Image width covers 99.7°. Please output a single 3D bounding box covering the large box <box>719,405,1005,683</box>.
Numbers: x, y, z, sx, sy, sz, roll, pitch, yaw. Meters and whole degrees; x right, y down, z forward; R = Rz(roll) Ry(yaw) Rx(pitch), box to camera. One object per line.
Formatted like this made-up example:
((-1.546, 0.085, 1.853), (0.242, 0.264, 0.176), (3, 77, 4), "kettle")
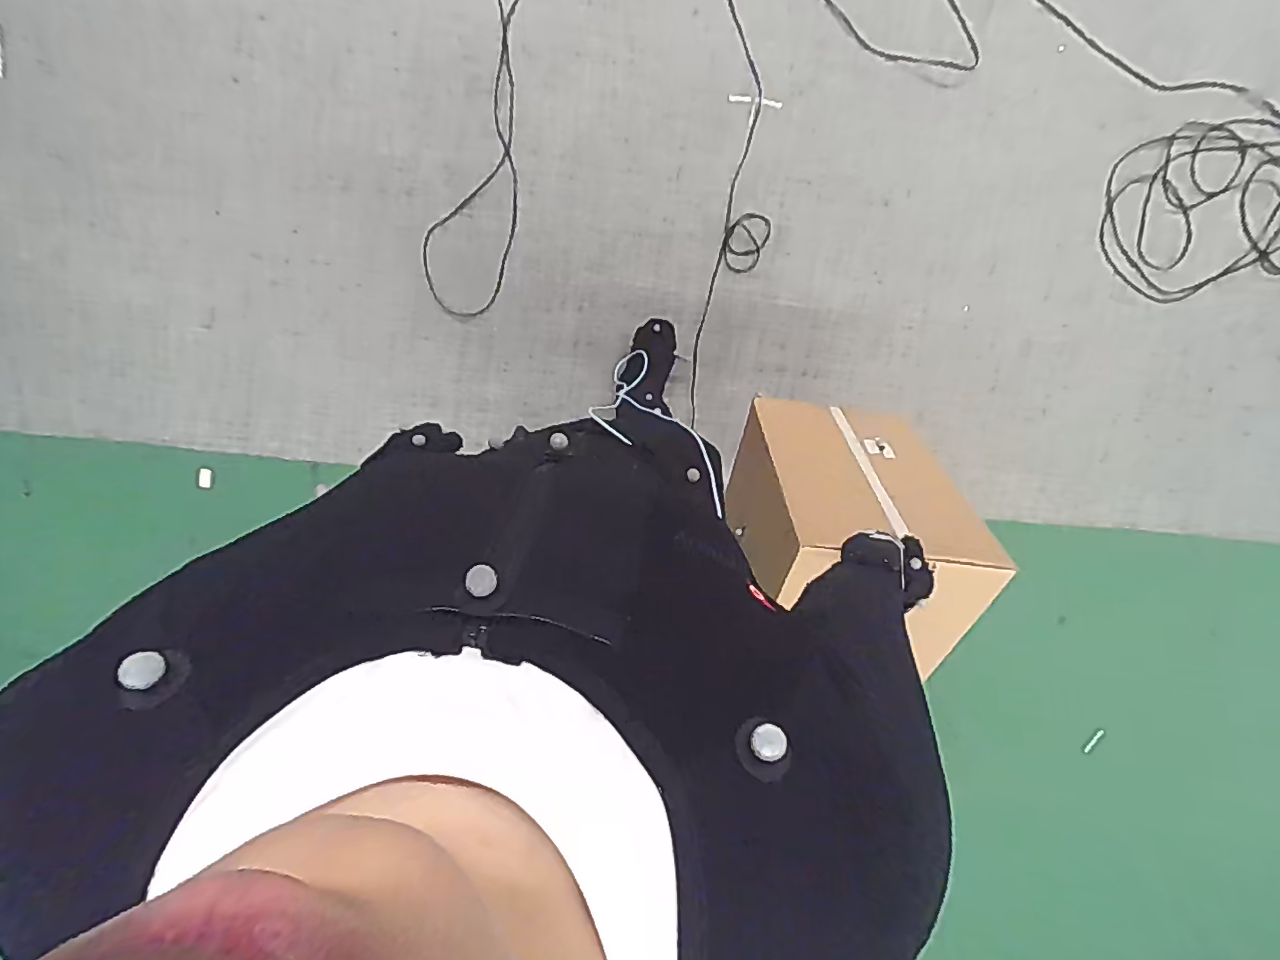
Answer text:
((0.346, 0.107, 0.992), (0.320, 0.408, 0.320), (7, 126, -5), "large box")
